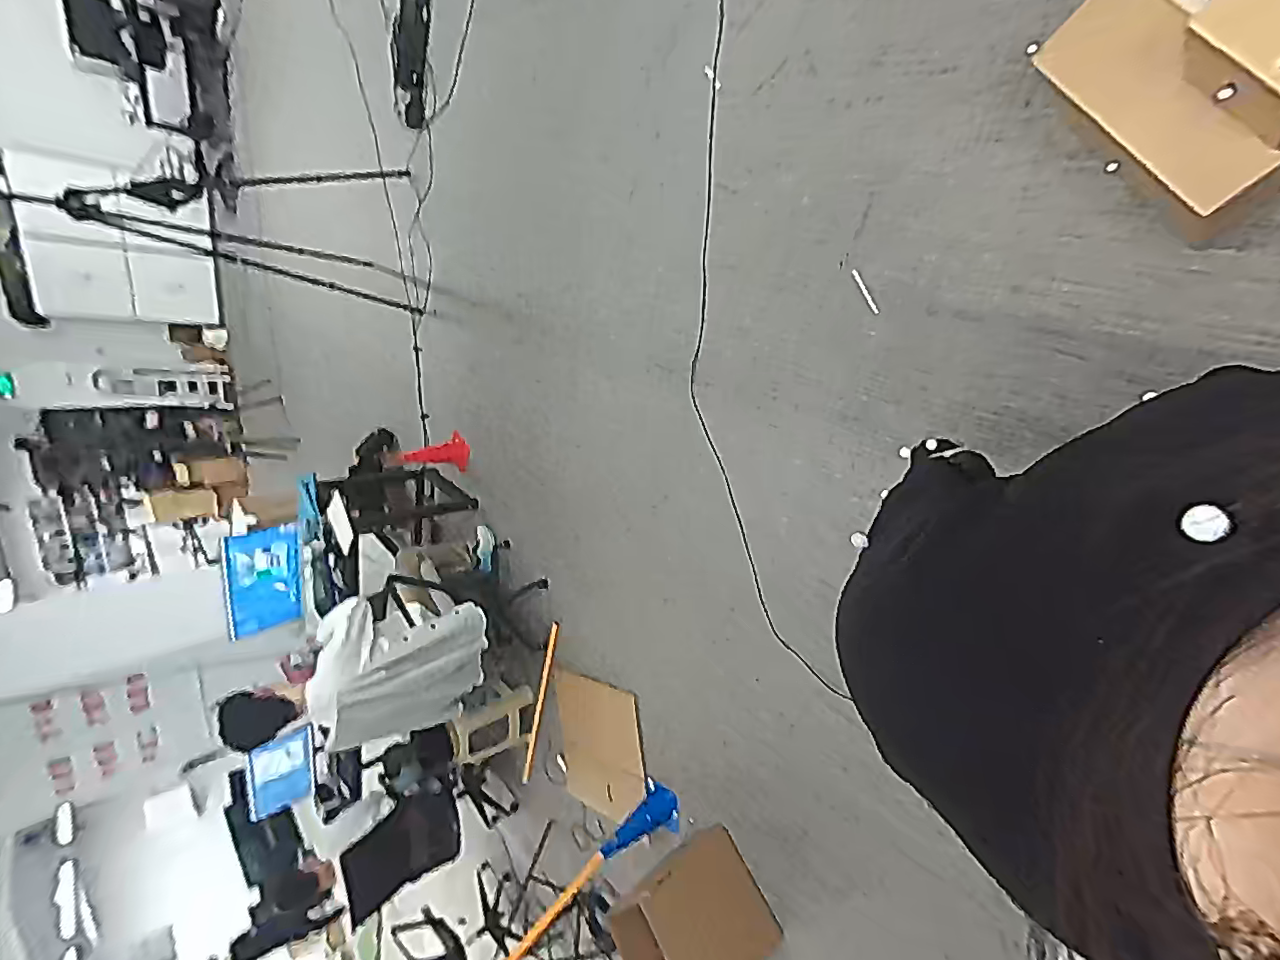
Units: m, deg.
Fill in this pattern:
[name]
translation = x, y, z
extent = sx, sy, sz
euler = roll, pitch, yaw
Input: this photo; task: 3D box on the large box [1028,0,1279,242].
[large box]
translation = 0.959, -0.672, 0.892
extent = 0.320, 0.320, 0.408
euler = -44, 66, 40
